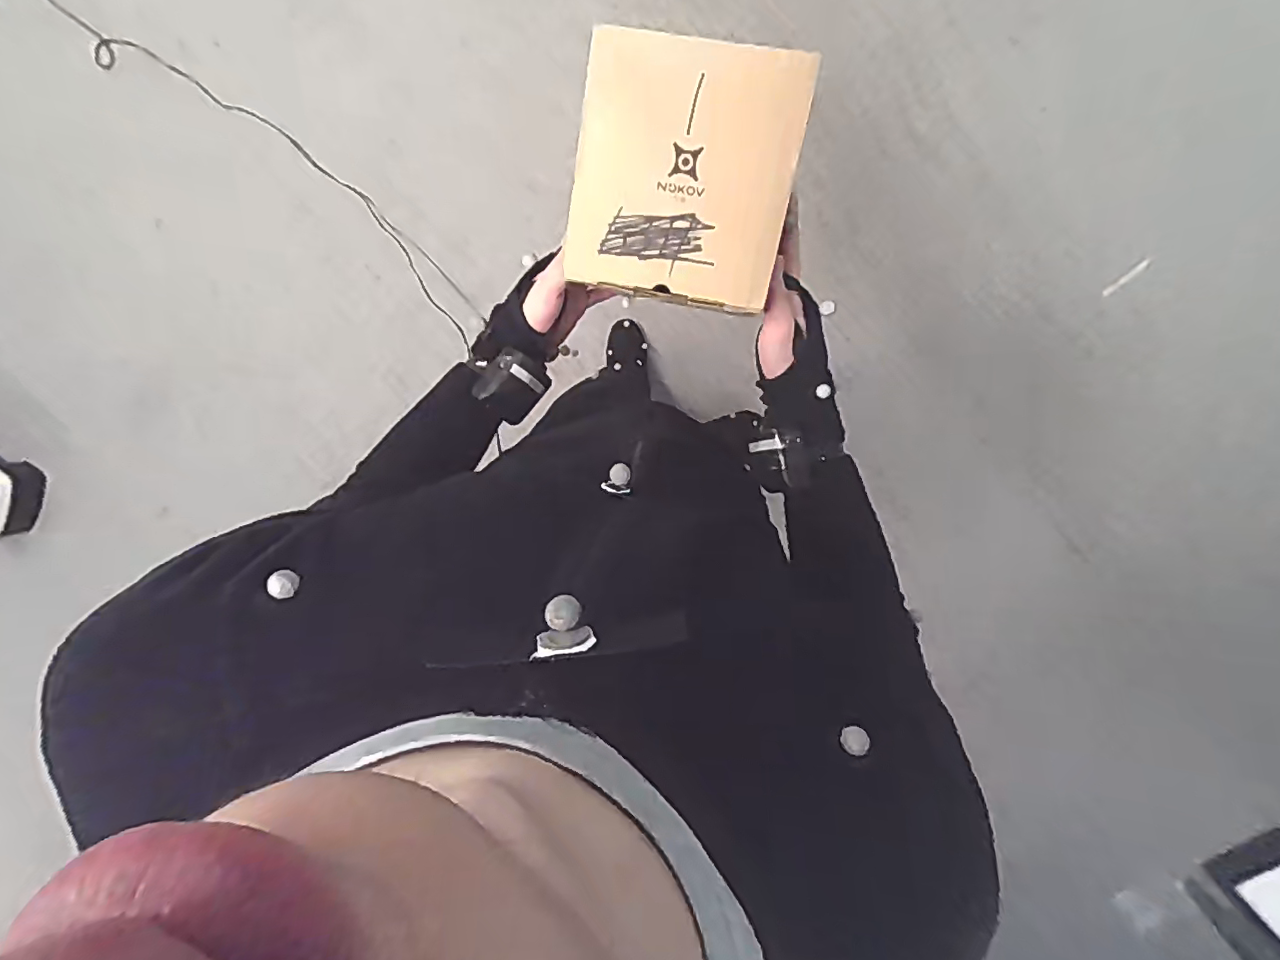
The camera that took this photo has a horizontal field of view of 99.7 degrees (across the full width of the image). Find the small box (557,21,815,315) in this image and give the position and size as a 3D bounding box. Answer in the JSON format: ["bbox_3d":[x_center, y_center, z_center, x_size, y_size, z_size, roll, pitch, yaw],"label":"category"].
[{"bbox_3d":[0.039,-0.247,0.475,0.168,0.176,0.179,12,107,5],"label":"small box"}]
